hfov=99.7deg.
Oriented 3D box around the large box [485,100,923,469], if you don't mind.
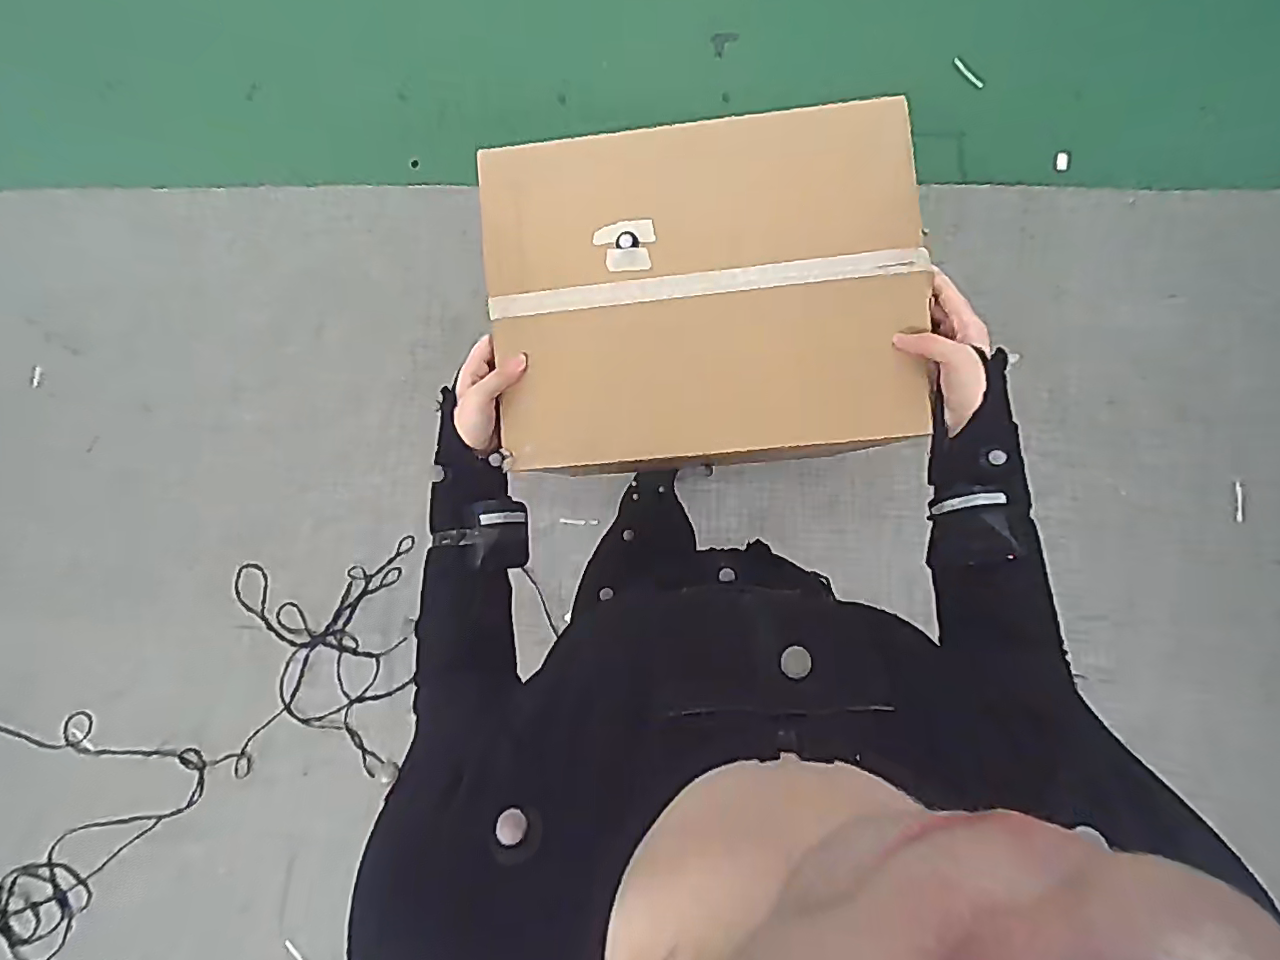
[{"bbox_3d":[0.070,-0.185,0.670,0.408,0.320,0.320,-5,89,6],"label":"large box"}]
